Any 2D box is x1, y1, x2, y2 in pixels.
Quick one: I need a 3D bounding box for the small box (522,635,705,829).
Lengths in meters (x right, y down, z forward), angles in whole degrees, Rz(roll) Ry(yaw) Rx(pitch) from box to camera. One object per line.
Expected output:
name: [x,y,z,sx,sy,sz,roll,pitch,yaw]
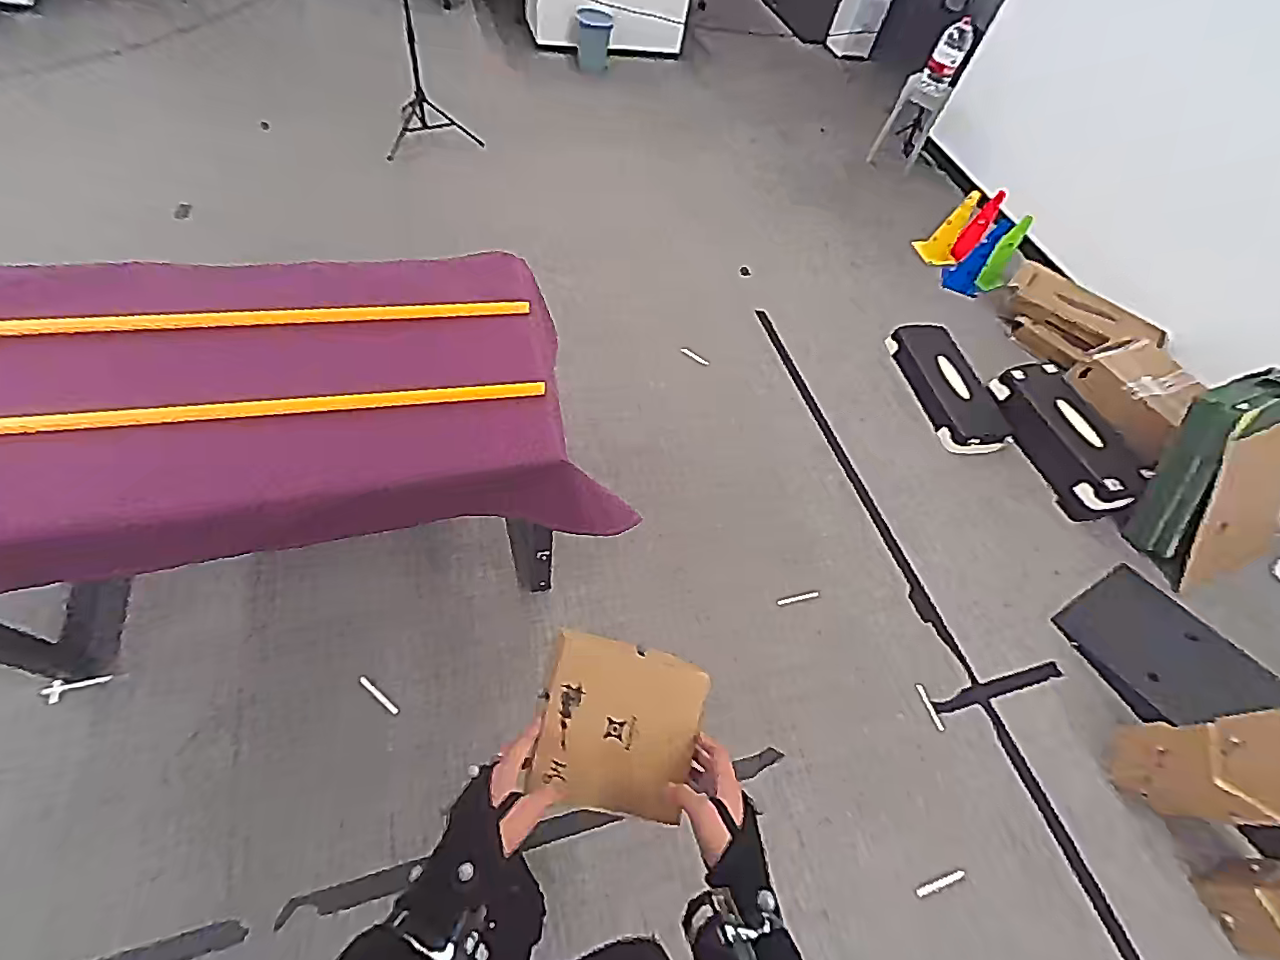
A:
small box: [-0.041,0.302,0.683,0.179,0.176,0.168,17,77,-8]
